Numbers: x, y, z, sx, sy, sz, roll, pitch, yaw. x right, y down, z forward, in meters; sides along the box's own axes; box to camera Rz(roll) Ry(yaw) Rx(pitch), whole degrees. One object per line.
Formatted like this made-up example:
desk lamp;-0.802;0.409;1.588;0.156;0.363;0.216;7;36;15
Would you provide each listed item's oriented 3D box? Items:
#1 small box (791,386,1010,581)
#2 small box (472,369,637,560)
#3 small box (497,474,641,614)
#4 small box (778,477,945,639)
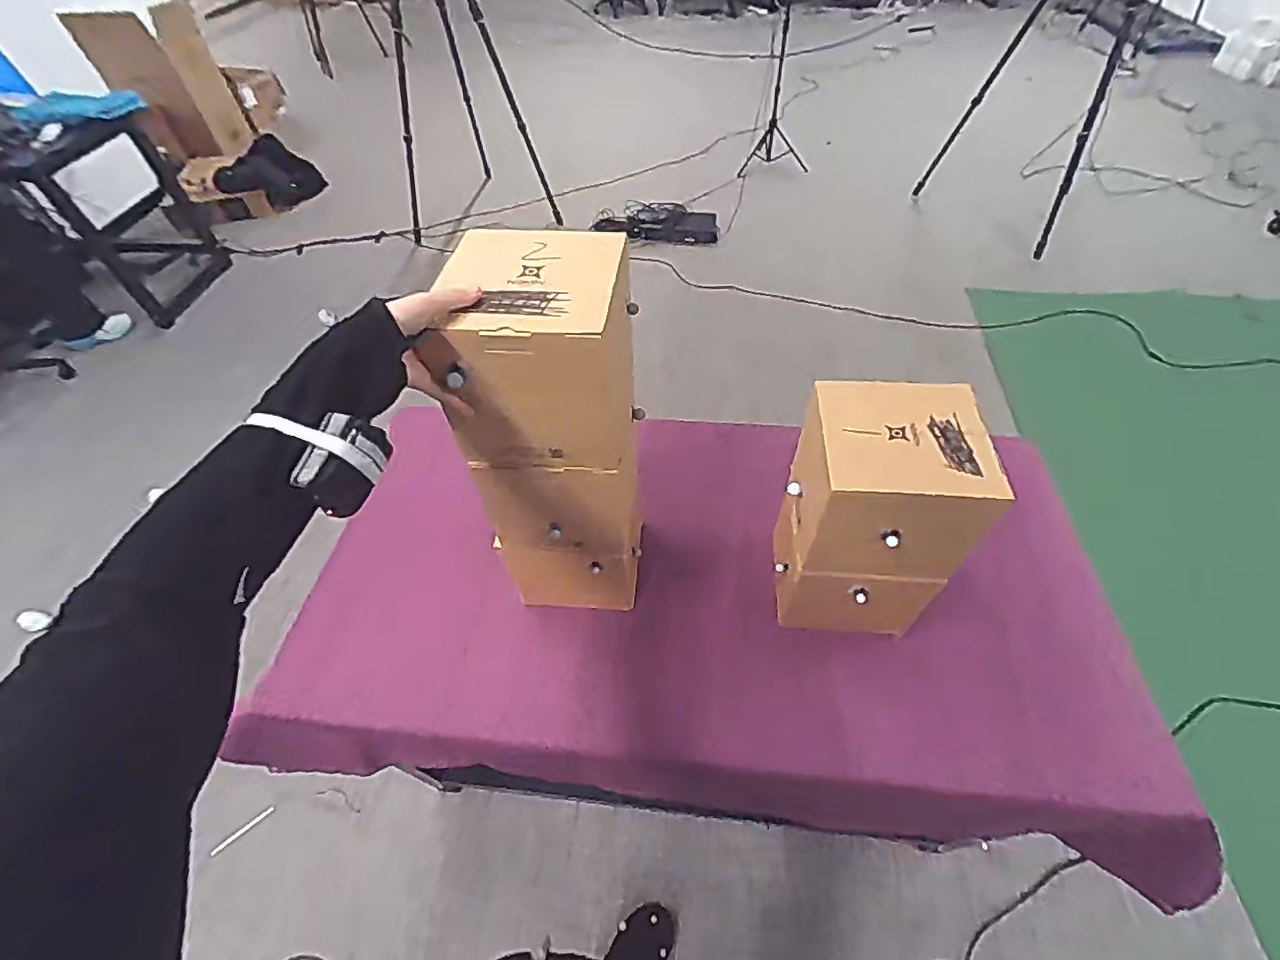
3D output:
small box;0.287;0.008;0.644;0.179;0.176;0.168;2;52;6
small box;-0.092;-0.019;0.688;0.168;0.176;0.179;2;51;4
small box;-0.094;0.088;0.813;0.179;0.176;0.168;3;51;4
small box;0.295;0.113;0.769;0.179;0.176;0.168;4;52;6
